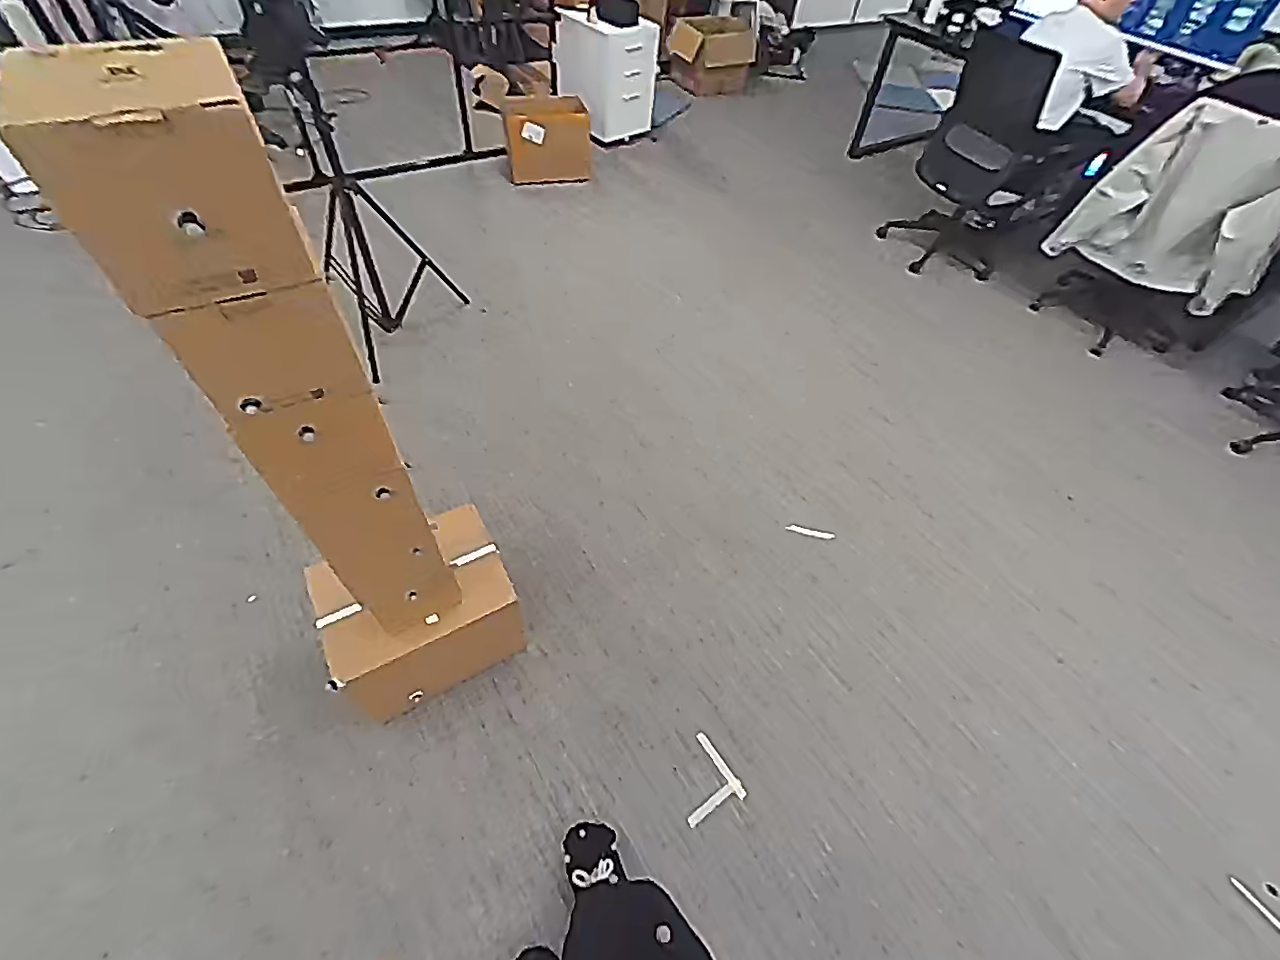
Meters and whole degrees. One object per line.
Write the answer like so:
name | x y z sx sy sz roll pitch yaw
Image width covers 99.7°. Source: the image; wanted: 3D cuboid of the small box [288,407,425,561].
small box | -0.484 0.008 0.922 0.179 0.176 0.168 -22 58 -21

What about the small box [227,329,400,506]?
small box | -0.472 -0.091 0.795 0.179 0.176 0.168 -22 59 -21

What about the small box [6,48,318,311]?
small box | -0.448 -0.288 0.533 0.168 0.176 0.179 -23 60 -21

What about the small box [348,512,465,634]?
small box | -0.506 0.208 1.182 0.179 0.176 0.168 -25 60 -24

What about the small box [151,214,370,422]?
small box | -0.457 -0.193 0.666 0.168 0.176 0.179 -22 58 -21
